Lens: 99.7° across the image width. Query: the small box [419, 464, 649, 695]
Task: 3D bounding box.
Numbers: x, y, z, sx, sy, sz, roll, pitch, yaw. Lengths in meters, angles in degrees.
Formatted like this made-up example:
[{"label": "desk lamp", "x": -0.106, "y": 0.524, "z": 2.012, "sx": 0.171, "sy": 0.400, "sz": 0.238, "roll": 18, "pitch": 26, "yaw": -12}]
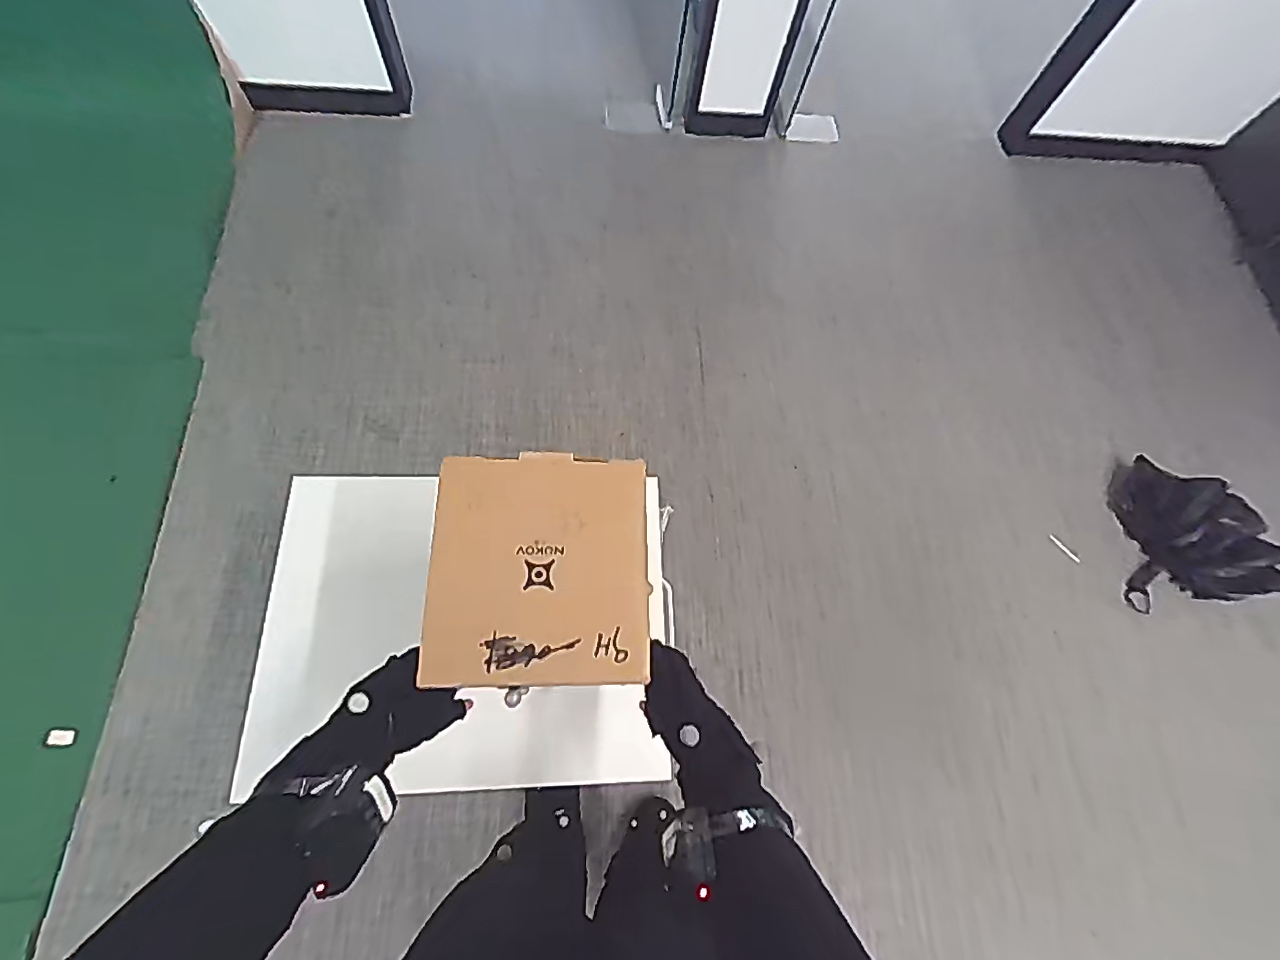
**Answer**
[{"label": "small box", "x": -0.082, "y": 0.098, "z": 0.489, "sx": 0.168, "sy": 0.176, "sz": 0.179, "roll": 0, "pitch": 69, "yaw": -4}]
